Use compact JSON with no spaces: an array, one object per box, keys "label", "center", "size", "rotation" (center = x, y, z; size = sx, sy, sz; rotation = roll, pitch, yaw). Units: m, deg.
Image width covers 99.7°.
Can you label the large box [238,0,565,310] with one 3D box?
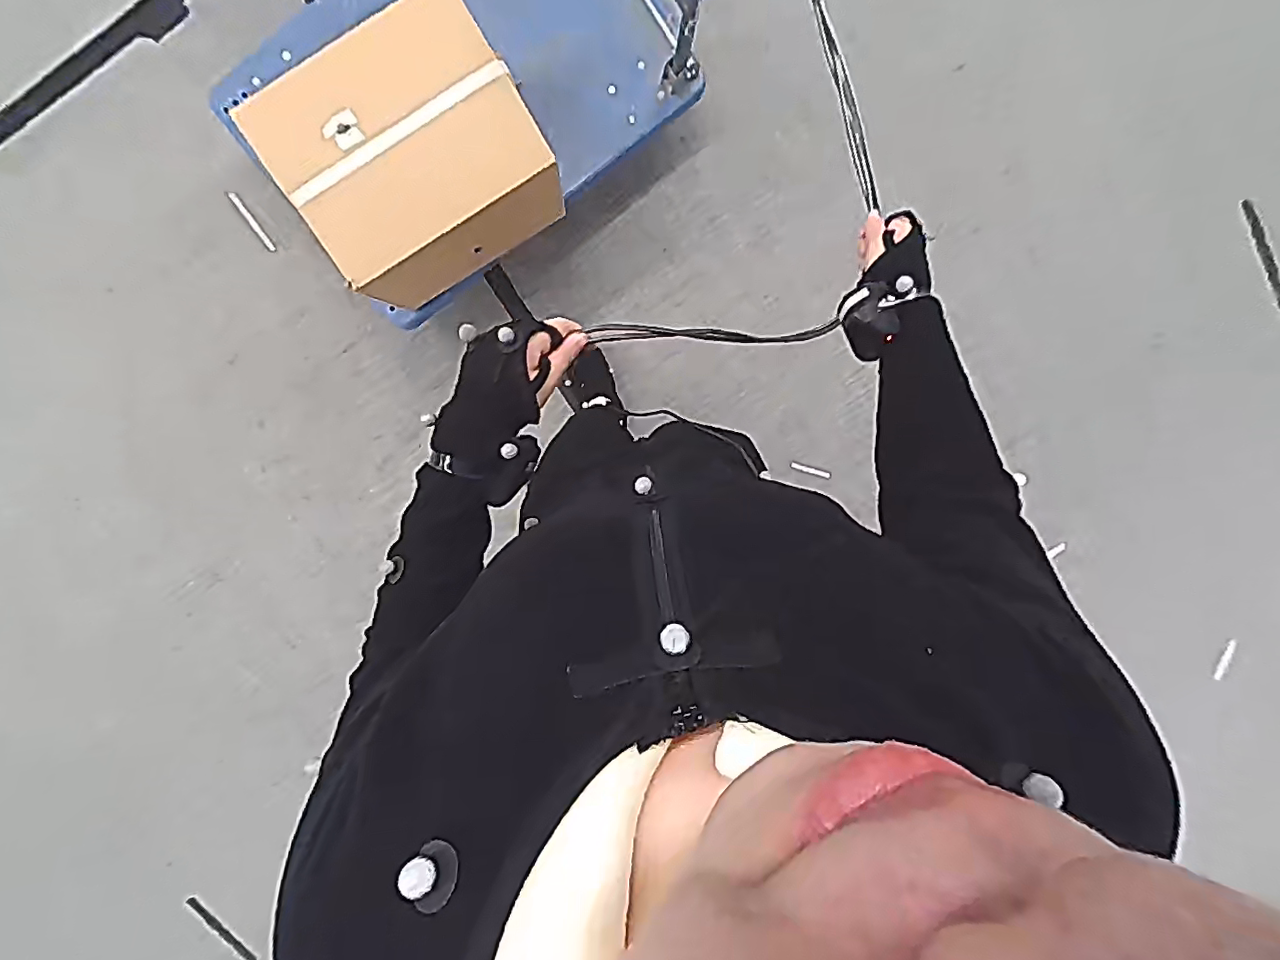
[{"label":"large box","center":[-0.394,-0.570,1.009],"size":[0.408,0.320,0.320],"rotation":[-32,101,2]}]
